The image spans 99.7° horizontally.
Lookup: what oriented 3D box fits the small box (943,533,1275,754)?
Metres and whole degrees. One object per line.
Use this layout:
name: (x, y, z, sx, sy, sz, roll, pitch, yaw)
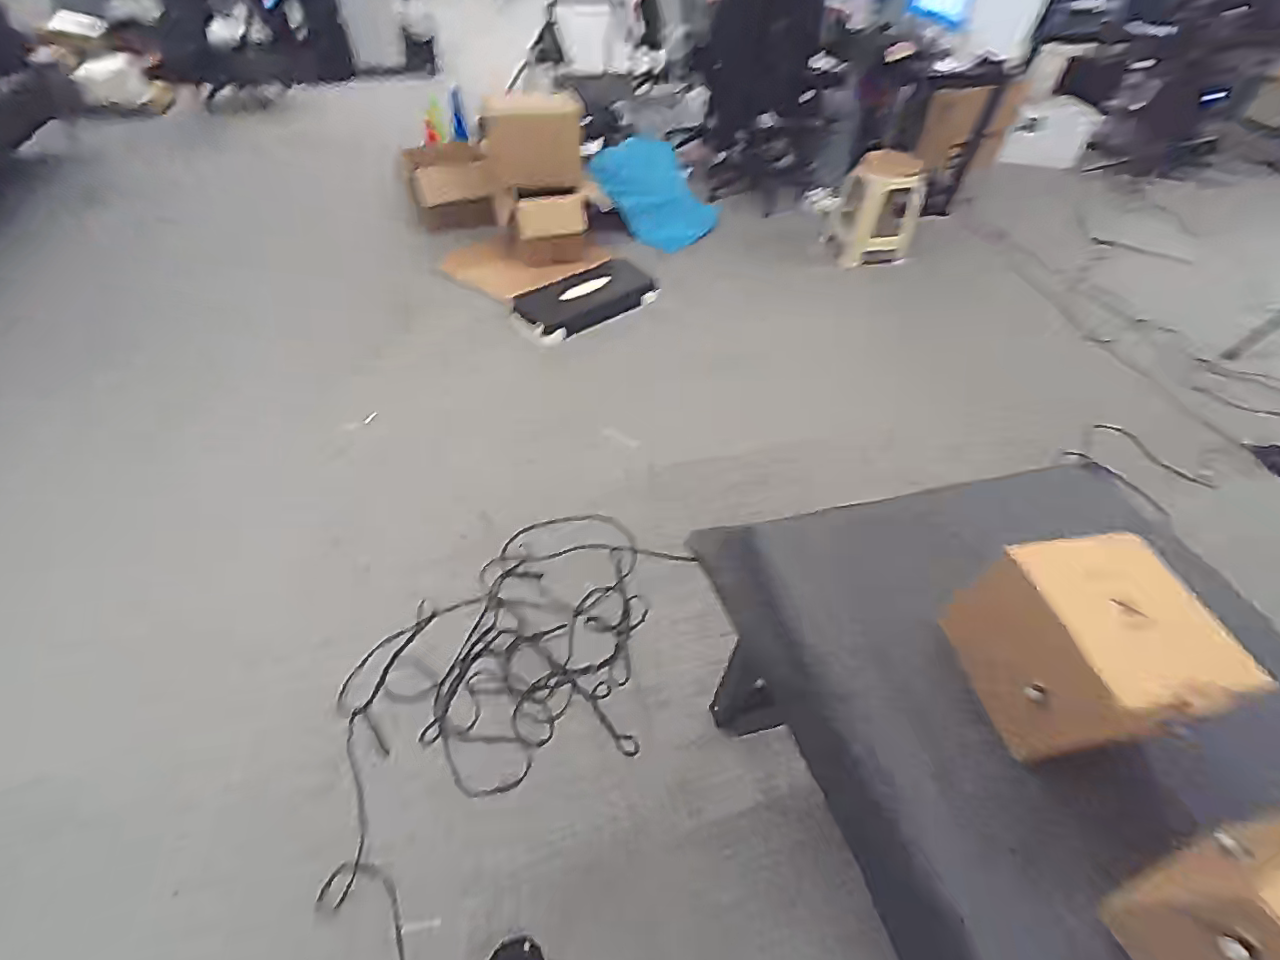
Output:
small box: (0.484, 0.184, 0.595, 0.168, 0.176, 0.179, -5, 48, -10)
